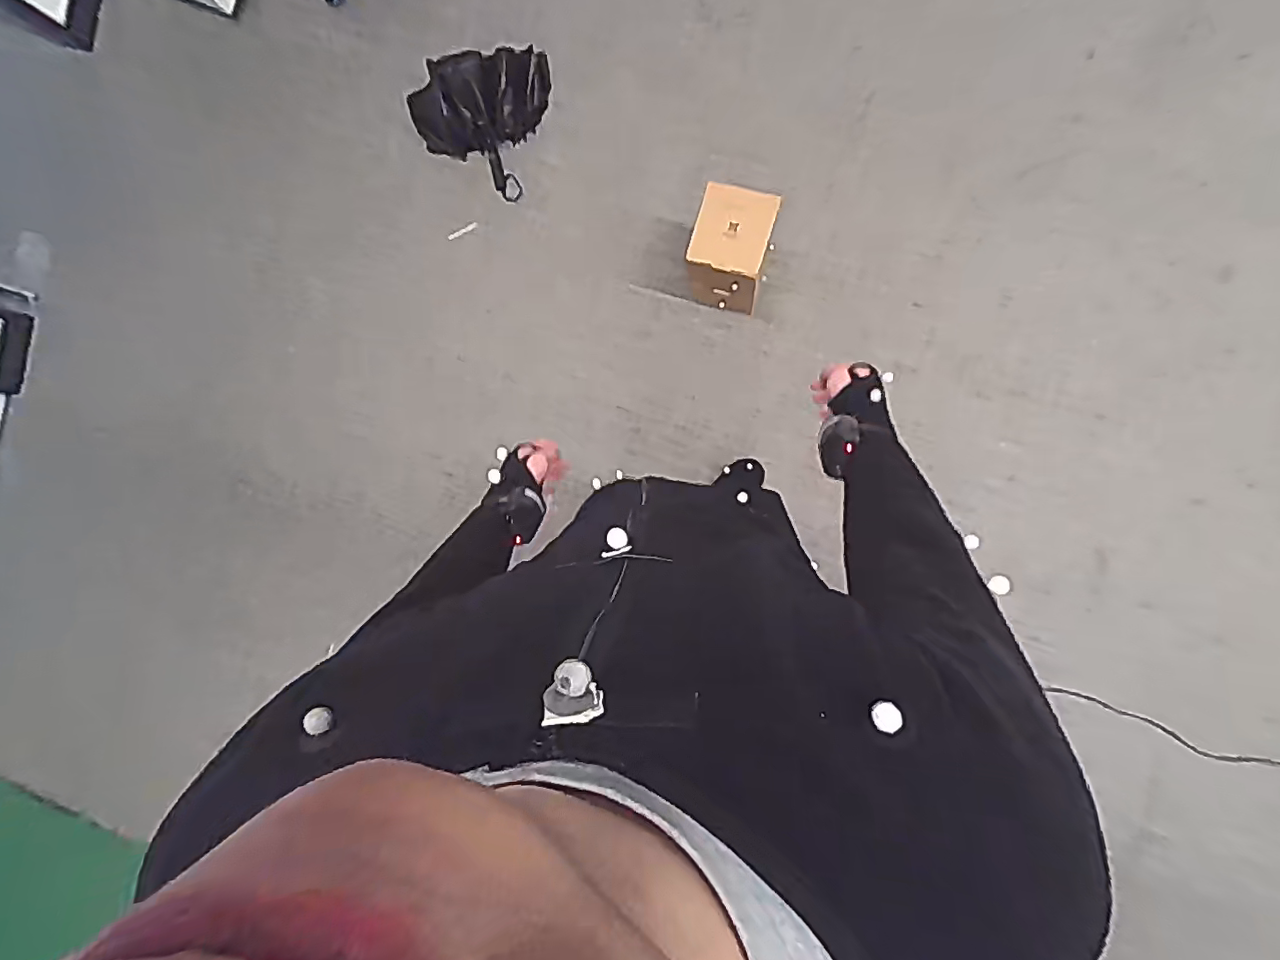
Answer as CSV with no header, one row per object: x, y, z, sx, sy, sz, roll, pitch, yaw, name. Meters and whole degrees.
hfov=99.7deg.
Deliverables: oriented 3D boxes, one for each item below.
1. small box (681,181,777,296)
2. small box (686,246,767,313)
0.204,-0.544,1.243,0.168,0.176,0.179,17,94,7,small box
0.229,-0.551,1.404,0.168,0.176,0.179,17,95,8,small box
